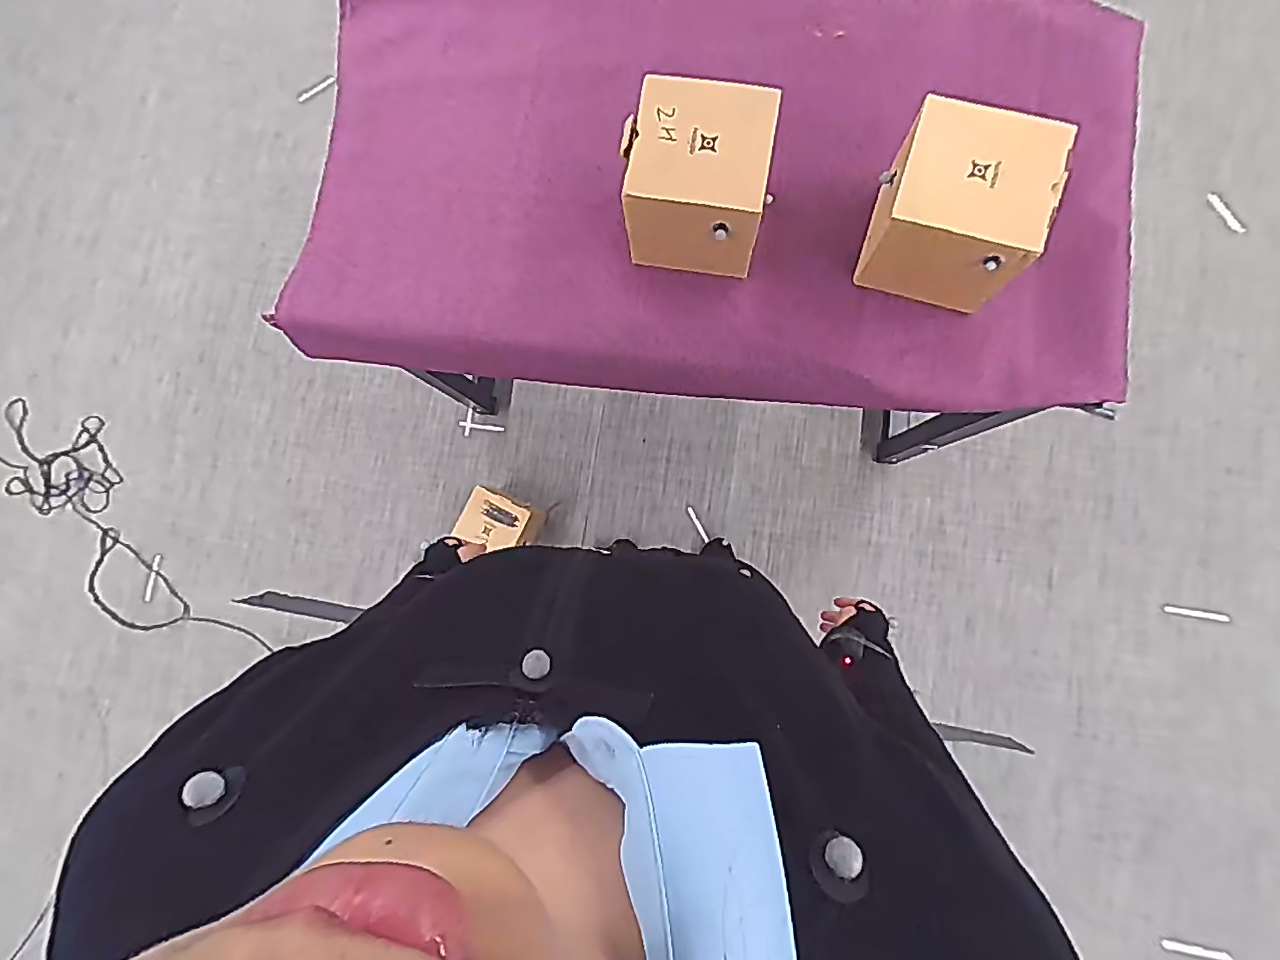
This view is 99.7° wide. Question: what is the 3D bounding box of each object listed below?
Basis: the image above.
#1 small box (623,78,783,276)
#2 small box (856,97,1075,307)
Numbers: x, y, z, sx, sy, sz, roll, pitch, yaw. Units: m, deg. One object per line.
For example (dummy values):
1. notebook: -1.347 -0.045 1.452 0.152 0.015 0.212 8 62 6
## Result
1. small box: 0.084 -0.403 0.745 0.179 0.176 0.168 10 84 6
2. small box: 0.408 -0.351 0.712 0.179 0.176 0.168 17 85 7
